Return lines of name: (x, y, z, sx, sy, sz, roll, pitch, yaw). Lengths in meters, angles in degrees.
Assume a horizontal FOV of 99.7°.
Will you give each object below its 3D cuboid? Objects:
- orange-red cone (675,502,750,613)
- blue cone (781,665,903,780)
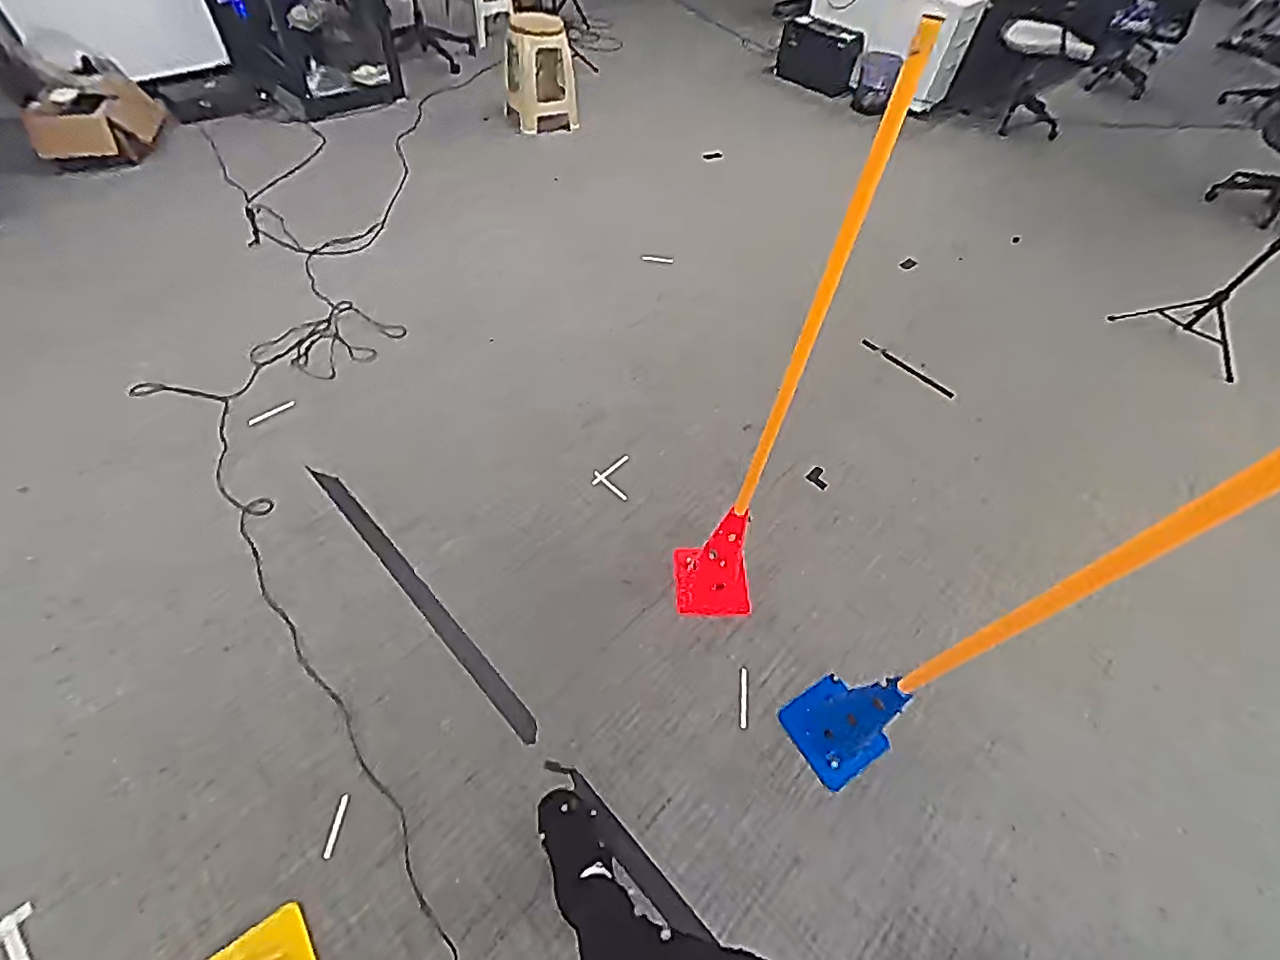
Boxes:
orange-red cone: (0.205, 0.168, 1.325, 0.198, 0.360, 0.199, 2, 54, -3)
blue cone: (0.460, 0.478, 1.136, 0.193, 0.380, 0.192, -23, 58, -21)
